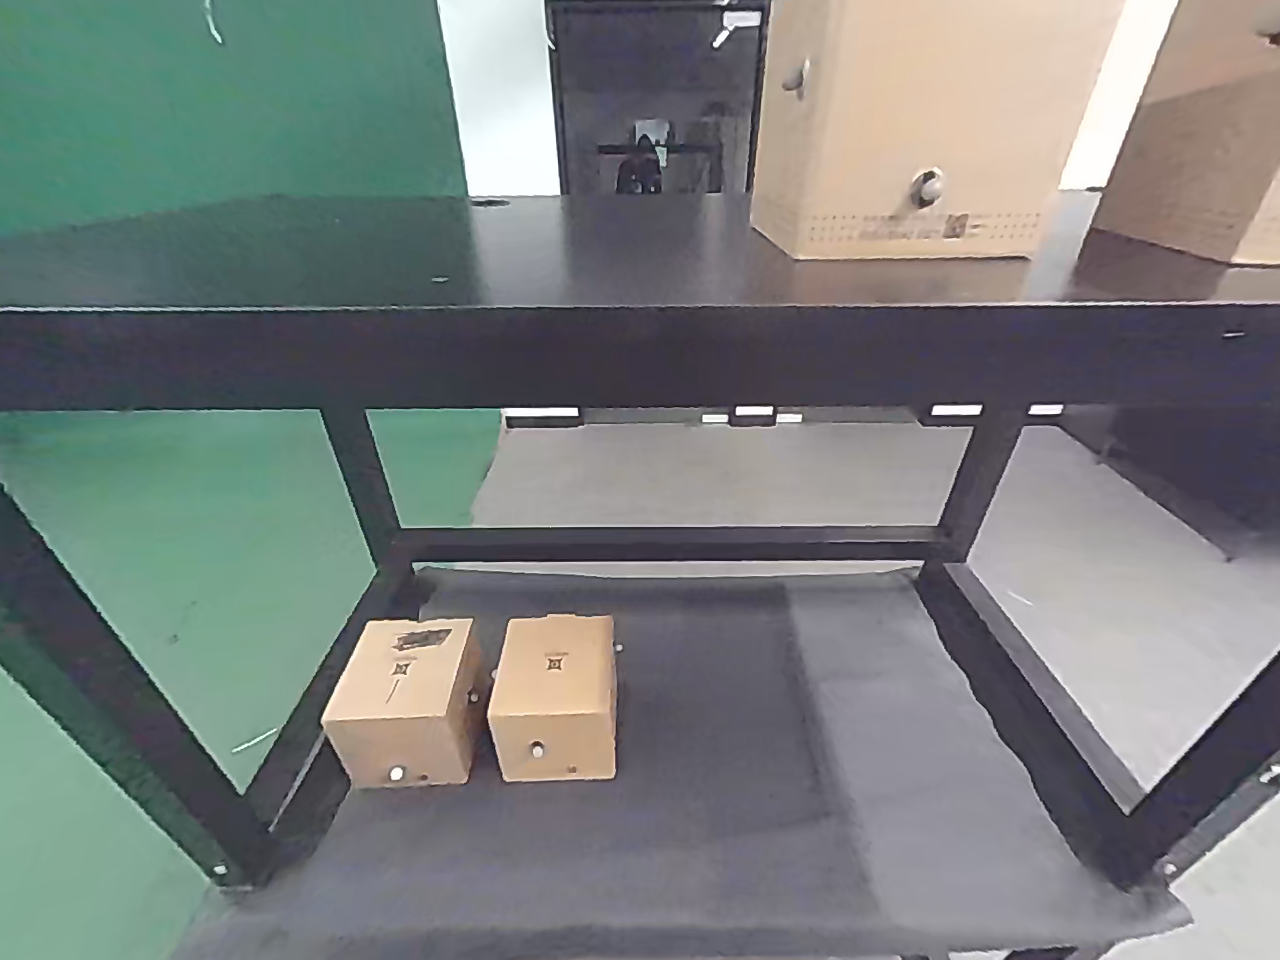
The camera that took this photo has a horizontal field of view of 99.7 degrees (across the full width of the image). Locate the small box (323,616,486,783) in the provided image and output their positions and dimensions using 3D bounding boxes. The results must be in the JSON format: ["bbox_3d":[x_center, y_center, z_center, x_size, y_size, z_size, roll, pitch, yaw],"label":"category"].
[{"bbox_3d":[-0.341,0.331,0.827,0.168,0.176,0.179,-2,33,-1],"label":"small box"}]

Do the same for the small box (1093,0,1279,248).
[{"bbox_3d":[0.454,-0.246,0.350,0.168,0.176,0.179,5,32,9],"label":"small box"}]
